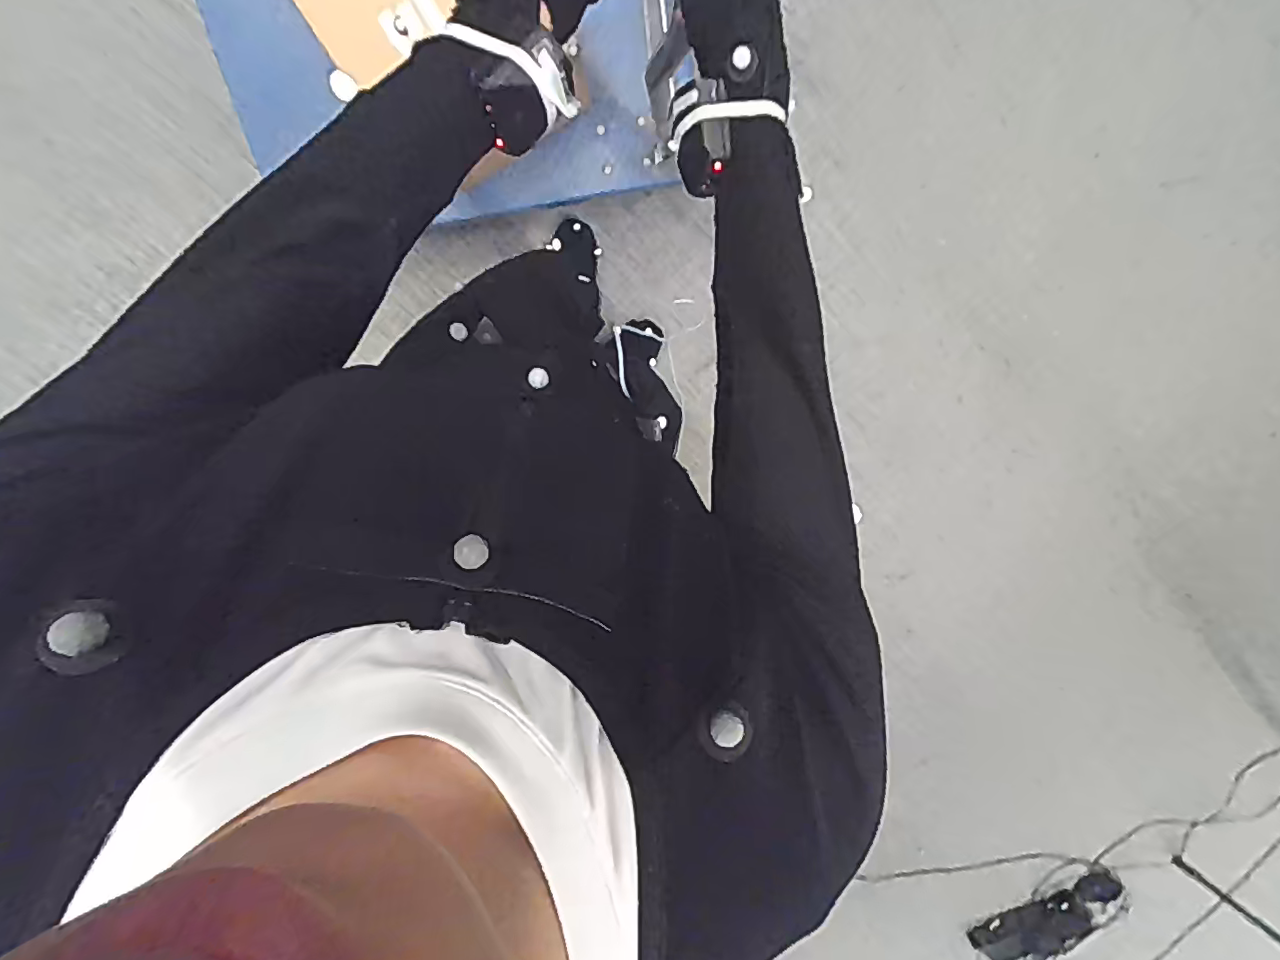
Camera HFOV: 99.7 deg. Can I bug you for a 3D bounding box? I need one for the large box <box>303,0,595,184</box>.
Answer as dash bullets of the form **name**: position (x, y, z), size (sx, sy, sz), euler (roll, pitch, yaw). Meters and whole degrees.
- **large box**: position (-0.314, -0.765, 0.867), size (0.320, 0.320, 0.408), euler (-29, 111, 13)
